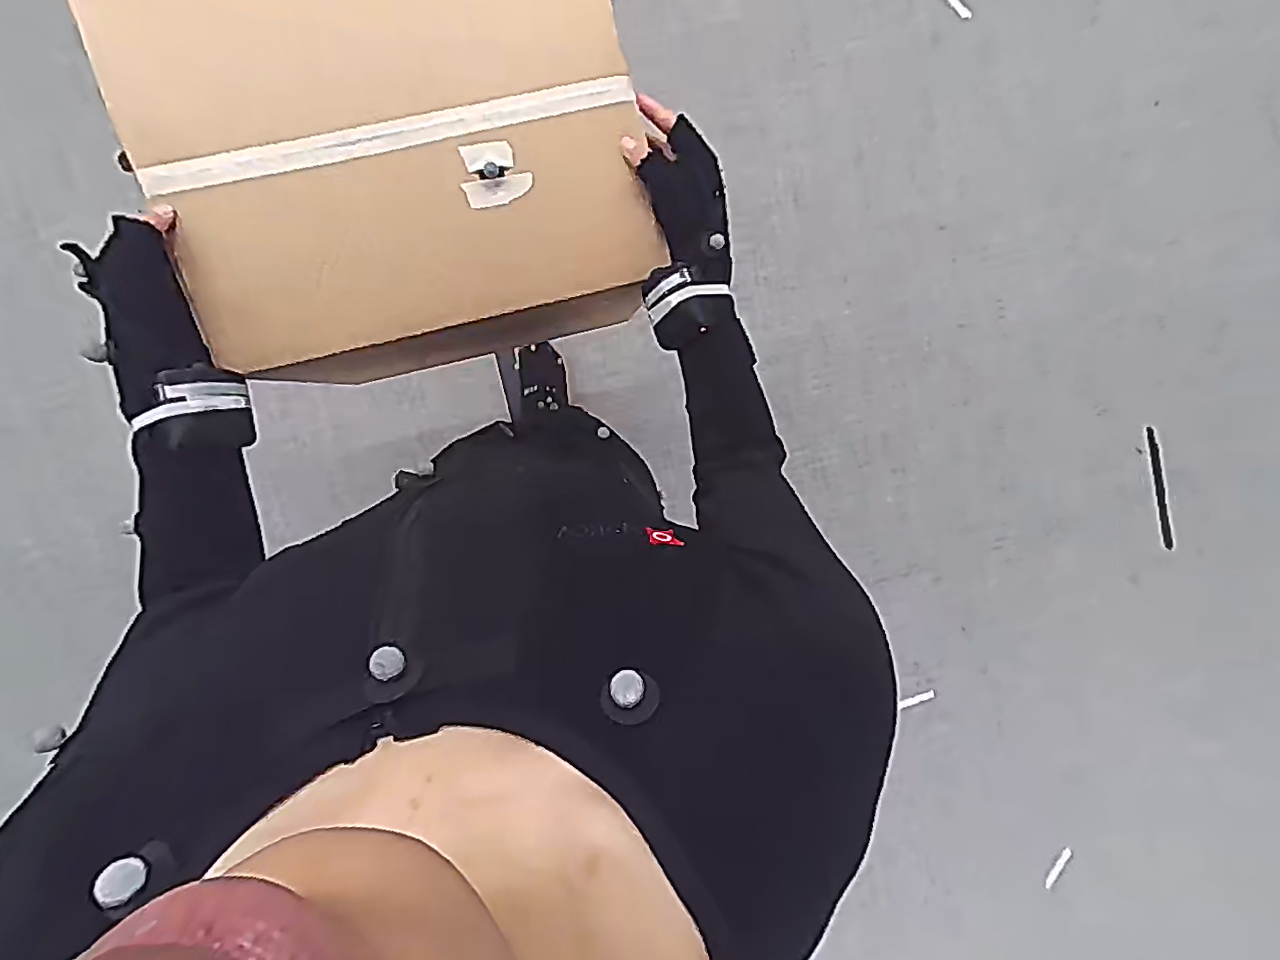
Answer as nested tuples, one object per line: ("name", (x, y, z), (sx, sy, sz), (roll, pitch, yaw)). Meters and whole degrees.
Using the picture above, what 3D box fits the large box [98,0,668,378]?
("large box", (-0.223, -0.321, 0.613), (0.408, 0.320, 0.320), (-16, 102, -7))
